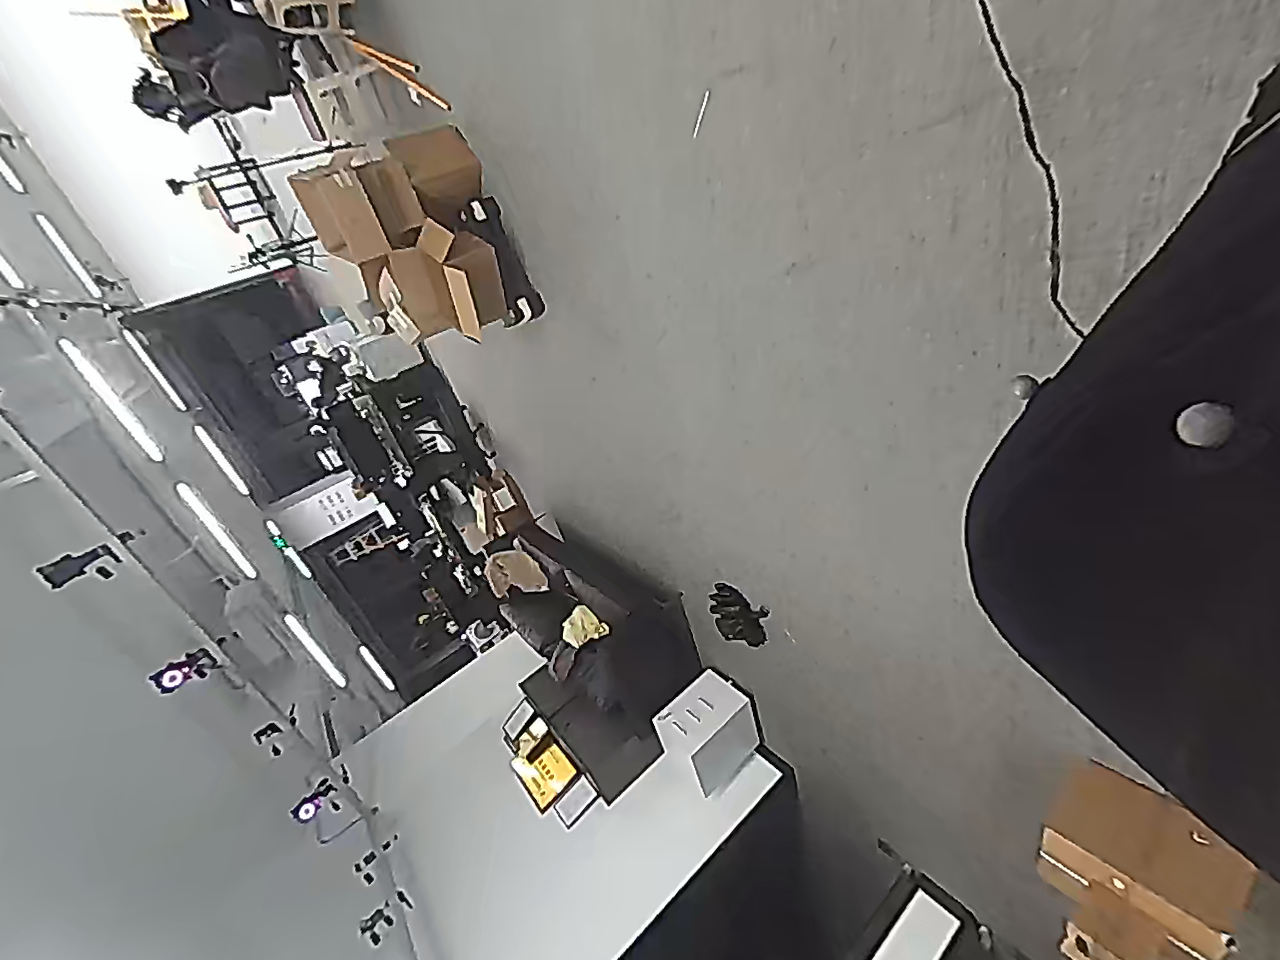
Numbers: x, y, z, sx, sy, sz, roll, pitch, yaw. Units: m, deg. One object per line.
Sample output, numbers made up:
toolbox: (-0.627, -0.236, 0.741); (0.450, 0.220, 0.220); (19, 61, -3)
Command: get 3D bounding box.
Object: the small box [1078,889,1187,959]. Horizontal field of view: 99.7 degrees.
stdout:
small box: (1.384, 1.307, 1.523); (0.179, 0.176, 0.168); (21, 131, 53)
